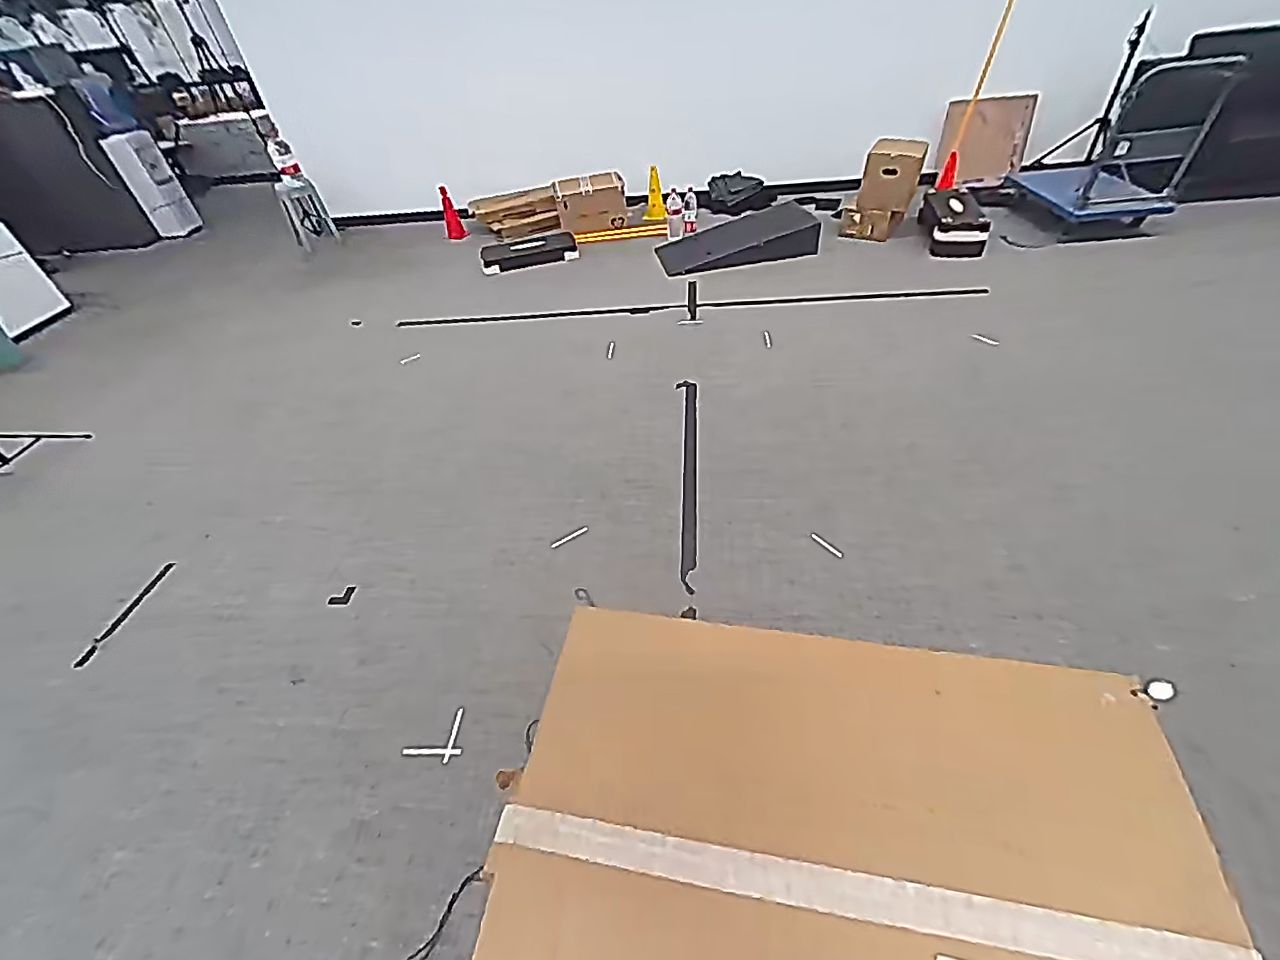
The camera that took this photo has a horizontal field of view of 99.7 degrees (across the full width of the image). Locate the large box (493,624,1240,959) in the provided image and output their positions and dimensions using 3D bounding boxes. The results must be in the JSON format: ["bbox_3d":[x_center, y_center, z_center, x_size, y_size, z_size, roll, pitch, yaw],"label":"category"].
[{"bbox_3d":[0.130,0.343,0.424,0.408,0.320,0.320,5,49,10],"label":"large box"}]
